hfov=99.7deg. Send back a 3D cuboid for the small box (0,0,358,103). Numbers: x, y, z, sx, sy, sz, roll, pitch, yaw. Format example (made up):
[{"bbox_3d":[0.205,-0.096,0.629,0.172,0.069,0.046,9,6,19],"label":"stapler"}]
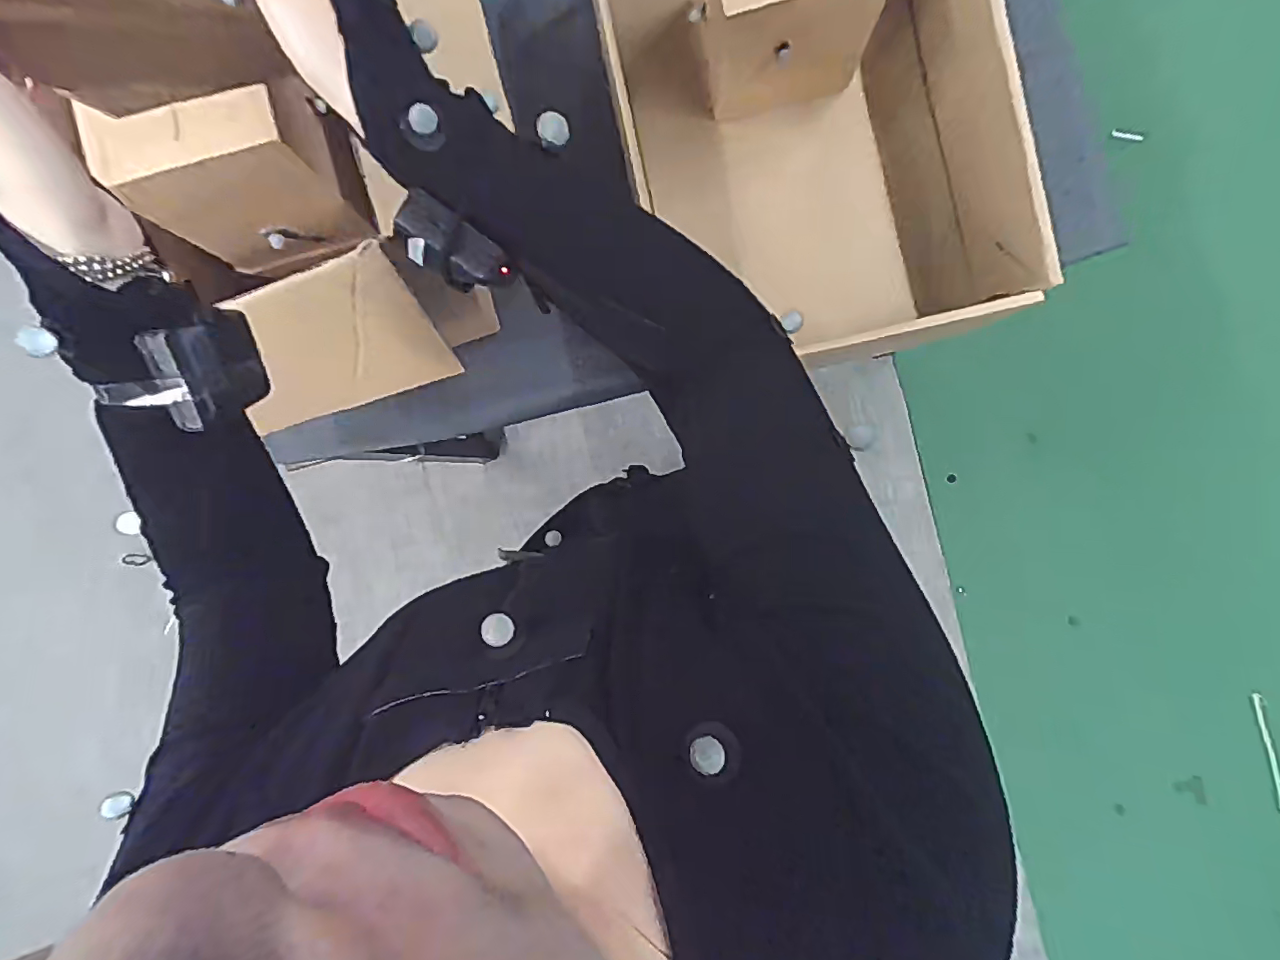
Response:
[{"bbox_3d":[-0.280,-0.328,0.279,0.179,0.176,0.168,-22,114,-9],"label":"small box"}]

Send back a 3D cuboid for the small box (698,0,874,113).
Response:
[{"bbox_3d":[0.159,-0.562,0.614,0.179,0.176,0.168,-11,92,7],"label":"small box"}]
